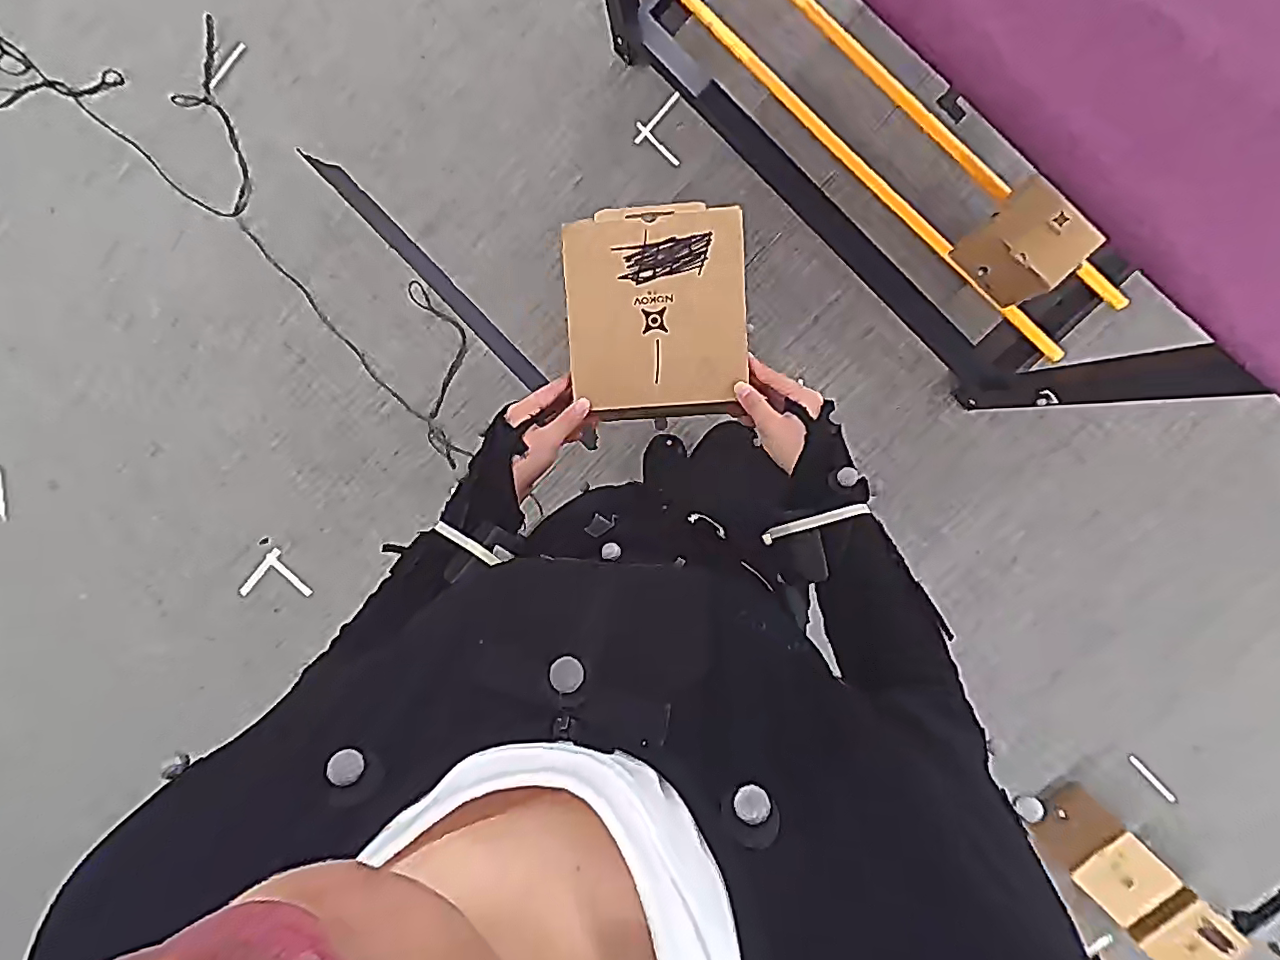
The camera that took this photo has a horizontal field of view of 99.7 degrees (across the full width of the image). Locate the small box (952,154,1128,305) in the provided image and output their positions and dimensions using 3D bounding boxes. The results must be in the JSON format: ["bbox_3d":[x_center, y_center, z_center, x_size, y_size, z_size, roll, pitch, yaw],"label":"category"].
[{"bbox_3d":[0.755,-0.469,1.045,0.168,0.176,0.179,45,99,0],"label":"small box"}]

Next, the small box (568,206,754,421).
[{"bbox_3d":[0.024,-0.157,0.566,0.168,0.176,0.179,-3,93,5],"label":"small box"}]
